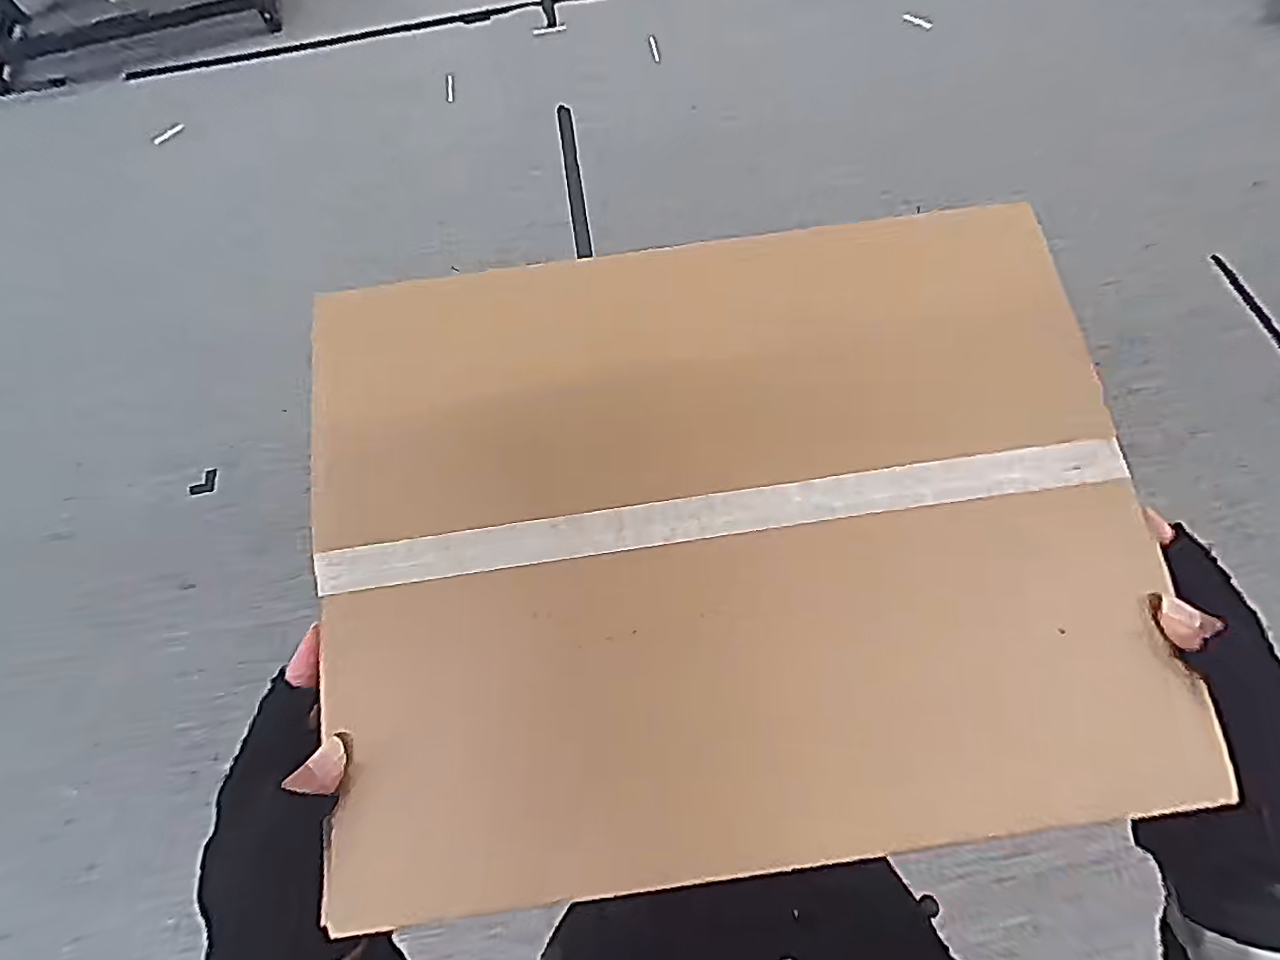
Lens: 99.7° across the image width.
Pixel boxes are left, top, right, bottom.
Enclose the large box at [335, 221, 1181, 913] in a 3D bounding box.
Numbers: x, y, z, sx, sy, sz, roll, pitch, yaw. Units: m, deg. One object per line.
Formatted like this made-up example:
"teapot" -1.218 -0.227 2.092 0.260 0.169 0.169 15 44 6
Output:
"large box" 0.041 0.056 0.431 0.408 0.320 0.320 -9 78 -1
